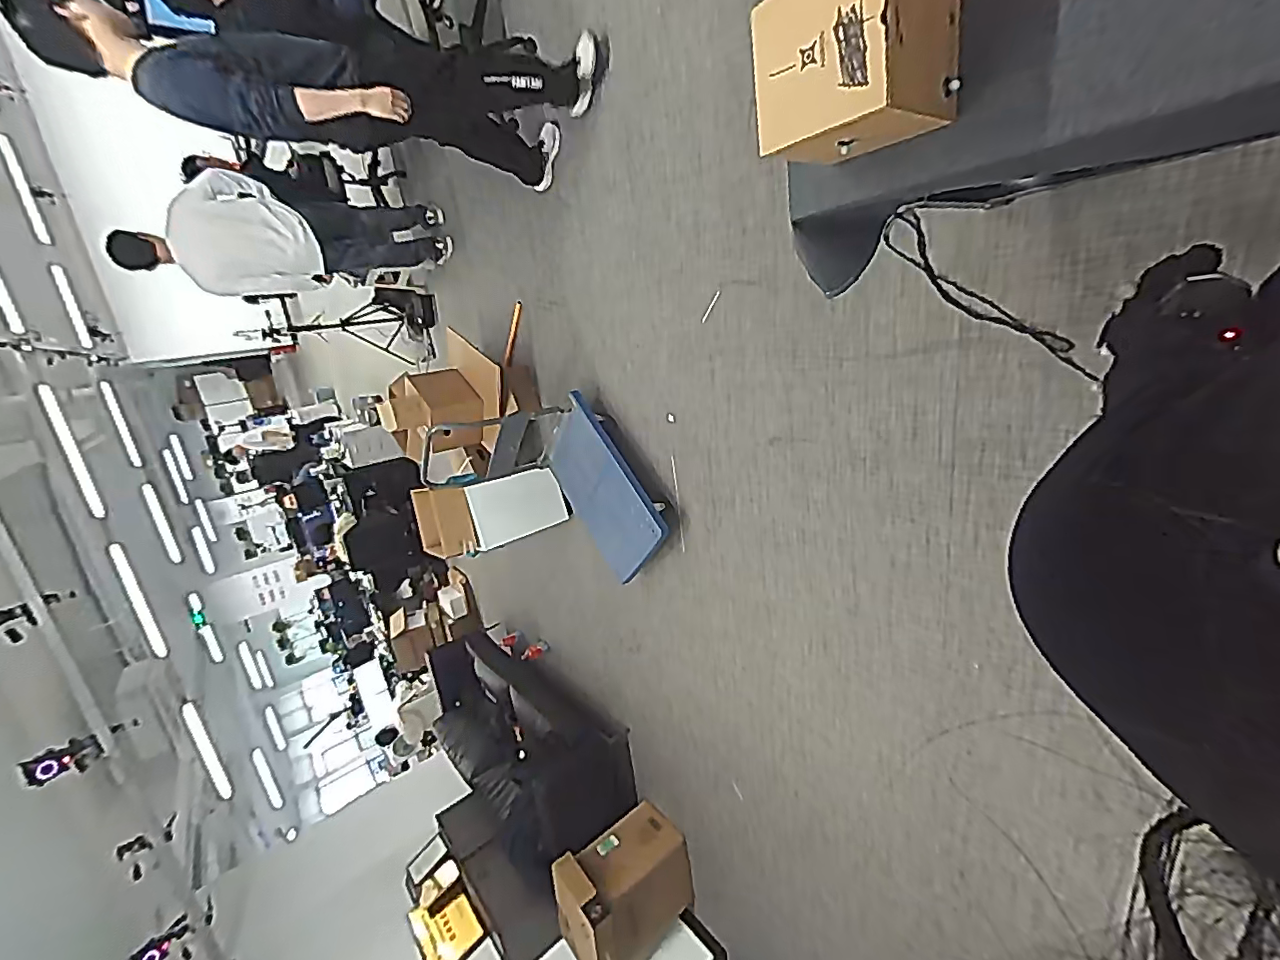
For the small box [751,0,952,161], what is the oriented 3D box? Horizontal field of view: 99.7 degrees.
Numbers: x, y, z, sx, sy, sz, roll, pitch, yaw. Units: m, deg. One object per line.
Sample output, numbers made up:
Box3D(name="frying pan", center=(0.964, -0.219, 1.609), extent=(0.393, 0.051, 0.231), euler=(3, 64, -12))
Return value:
Box3D(name="small box", center=(0.263, -0.512, 0.666), extent=(0.179, 0.176, 0.168), euler=(13, 116, 51))
